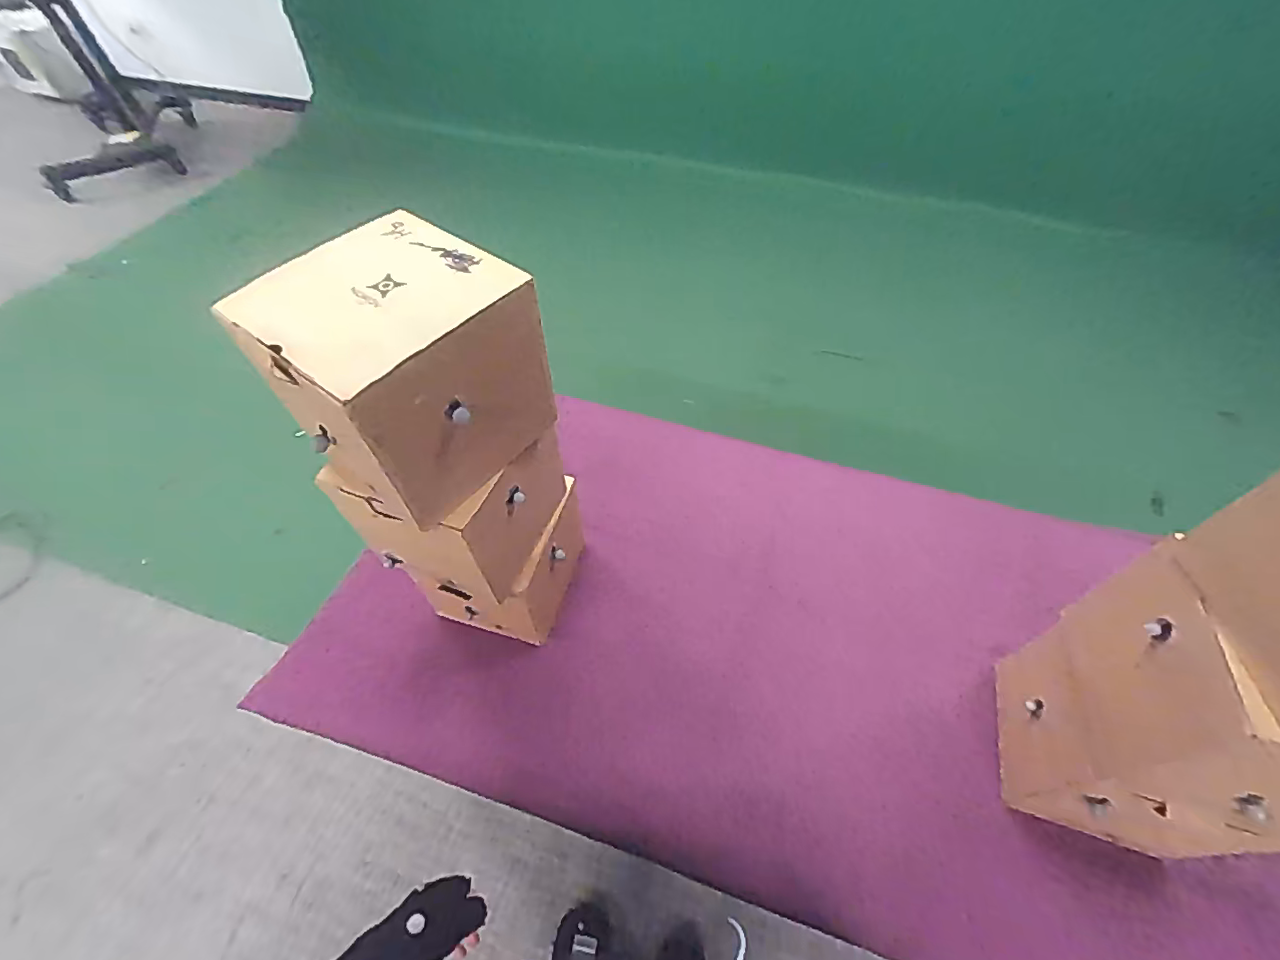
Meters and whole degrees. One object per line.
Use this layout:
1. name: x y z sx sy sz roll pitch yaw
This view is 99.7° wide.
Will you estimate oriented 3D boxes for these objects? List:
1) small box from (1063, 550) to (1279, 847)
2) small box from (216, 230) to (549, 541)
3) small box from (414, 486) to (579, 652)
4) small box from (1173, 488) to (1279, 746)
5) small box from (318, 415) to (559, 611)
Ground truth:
1. small box: 0.516 0.192 0.473 0.168 0.176 0.179 12 53 10
2. small box: -0.200 -0.078 0.475 0.168 0.176 0.179 33 62 21
3. small box: -0.189 0.109 0.745 0.168 0.176 0.179 14 55 9
4. small box: 0.522 0.093 0.343 0.168 0.176 0.179 4 52 2
5. small box: -0.202 0.021 0.606 0.168 0.176 0.179 18 55 12
